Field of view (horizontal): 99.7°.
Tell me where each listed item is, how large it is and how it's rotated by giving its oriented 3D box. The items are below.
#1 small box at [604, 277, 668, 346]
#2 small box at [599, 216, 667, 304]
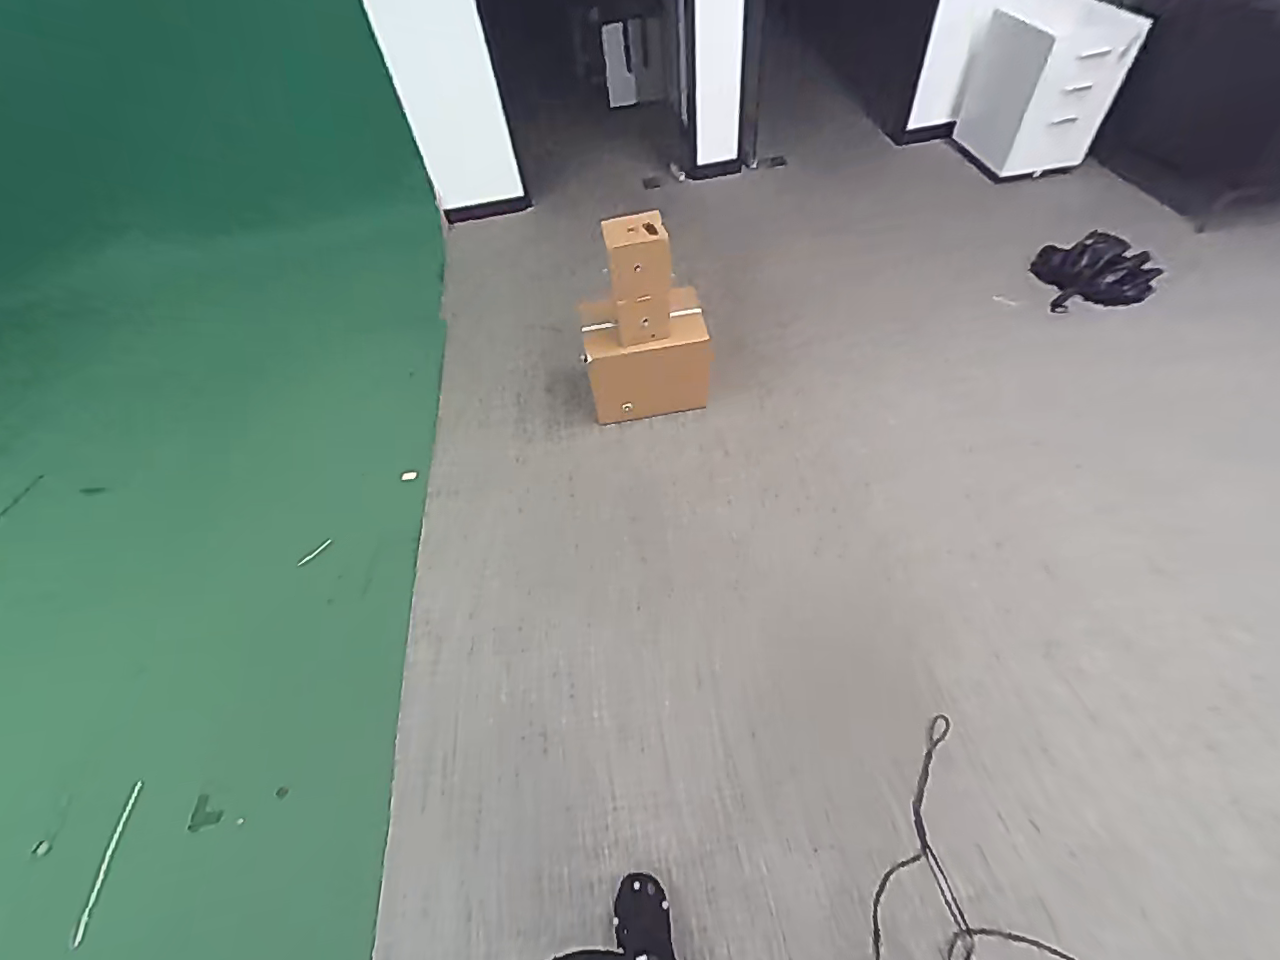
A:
[{"bbox_3d":[-0.010,-0.547,1.730,0.168,0.176,0.179,-13,53,-3],"label":"small box"},{"bbox_3d":[-0.017,-0.648,1.599,0.179,0.176,0.168,-11,52,0],"label":"small box"}]
